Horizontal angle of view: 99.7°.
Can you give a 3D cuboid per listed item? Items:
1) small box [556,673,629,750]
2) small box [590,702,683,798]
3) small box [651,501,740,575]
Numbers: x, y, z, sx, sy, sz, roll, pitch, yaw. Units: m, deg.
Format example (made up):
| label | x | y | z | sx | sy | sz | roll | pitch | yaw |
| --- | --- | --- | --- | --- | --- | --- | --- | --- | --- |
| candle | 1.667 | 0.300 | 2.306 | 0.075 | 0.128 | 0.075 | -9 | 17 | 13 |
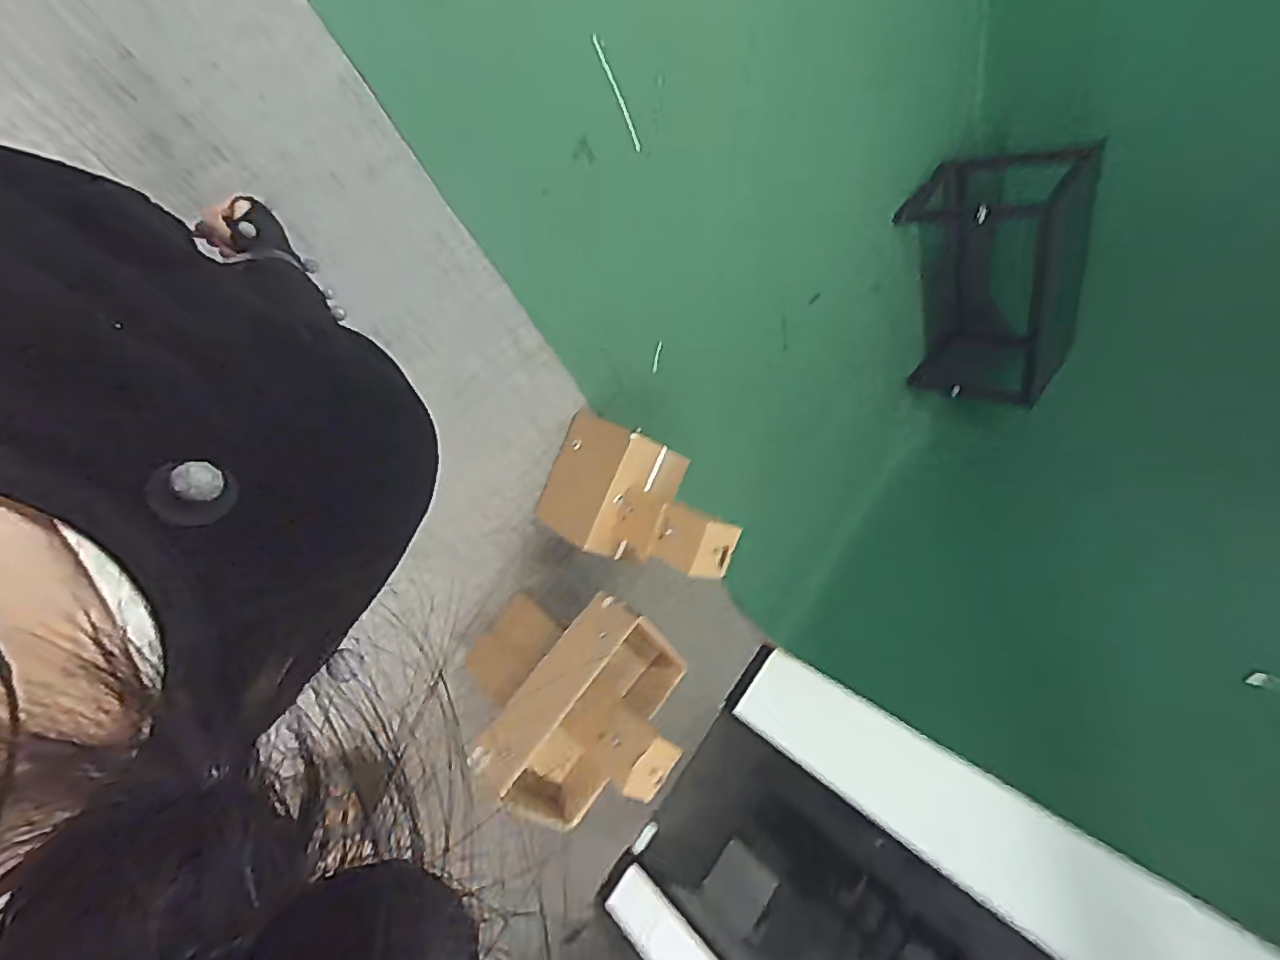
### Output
| label | x | y | z | sx | sy | sz | roll | pitch | yaw |
| --- | --- | --- | --- | --- | --- | --- | --- | --- | --- |
| small box | -0.125 | 0.730 | 1.675 | 0.168 | 0.176 | 0.179 | -51 | 134 | -16 |
| small box | -0.014 | 0.773 | 1.562 | 0.168 | 0.176 | 0.179 | -52 | 134 | -14 |
| small box | 0.167 | 0.174 | 1.634 | 0.179 | 0.176 | 0.168 | 16 | 95 | -47 |
